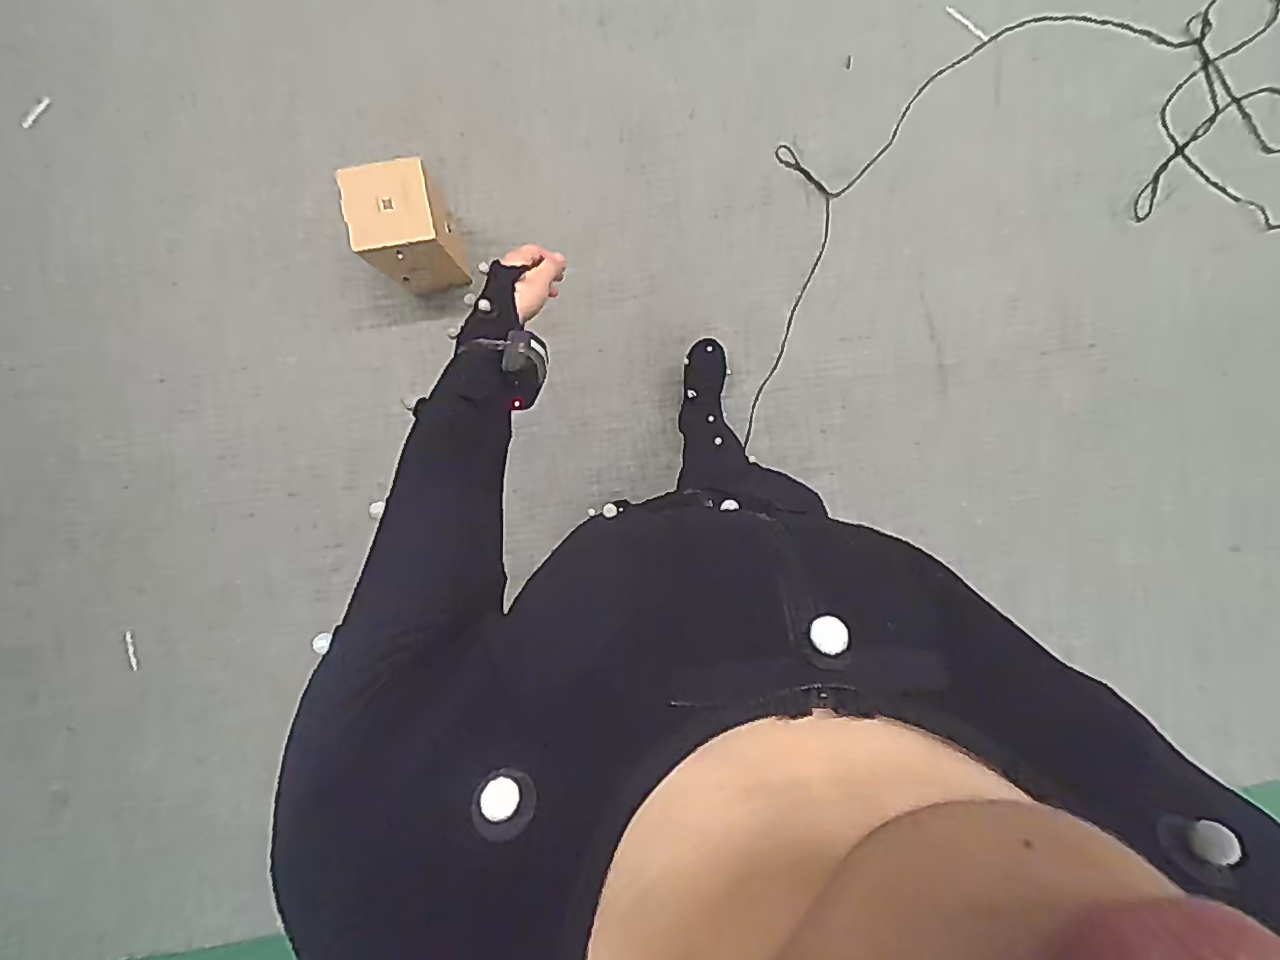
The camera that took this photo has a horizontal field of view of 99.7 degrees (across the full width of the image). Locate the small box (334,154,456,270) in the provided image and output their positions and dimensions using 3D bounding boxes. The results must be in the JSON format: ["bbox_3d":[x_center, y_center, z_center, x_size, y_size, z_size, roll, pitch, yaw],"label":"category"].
[{"bbox_3d":[-0.523,-0.572,1.176,0.179,0.176,0.168,-10,95,-2],"label":"small box"}]
